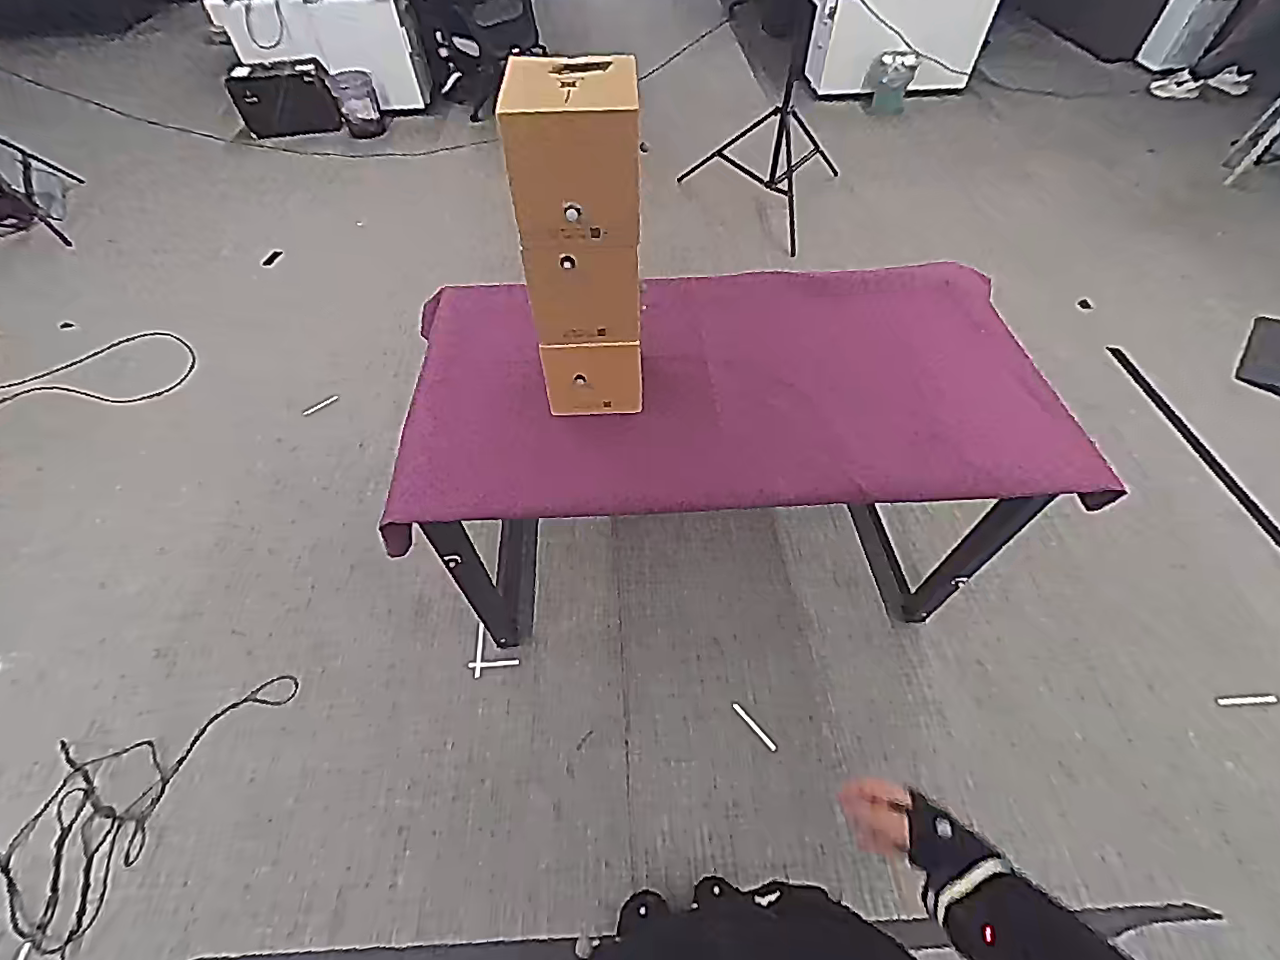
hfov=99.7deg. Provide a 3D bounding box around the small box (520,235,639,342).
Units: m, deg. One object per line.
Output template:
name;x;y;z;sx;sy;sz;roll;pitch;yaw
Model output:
small box;-0.088;-0.341;0.860;0.168;0.176;0.179;-3;53;-1

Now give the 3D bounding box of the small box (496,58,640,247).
small box;-0.085;-0.437;0.726;0.168;0.176;0.179;-2;54;-1

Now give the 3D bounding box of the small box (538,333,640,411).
small box;-0.085;-0.239;0.988;0.168;0.176;0.179;-2;53;-1
